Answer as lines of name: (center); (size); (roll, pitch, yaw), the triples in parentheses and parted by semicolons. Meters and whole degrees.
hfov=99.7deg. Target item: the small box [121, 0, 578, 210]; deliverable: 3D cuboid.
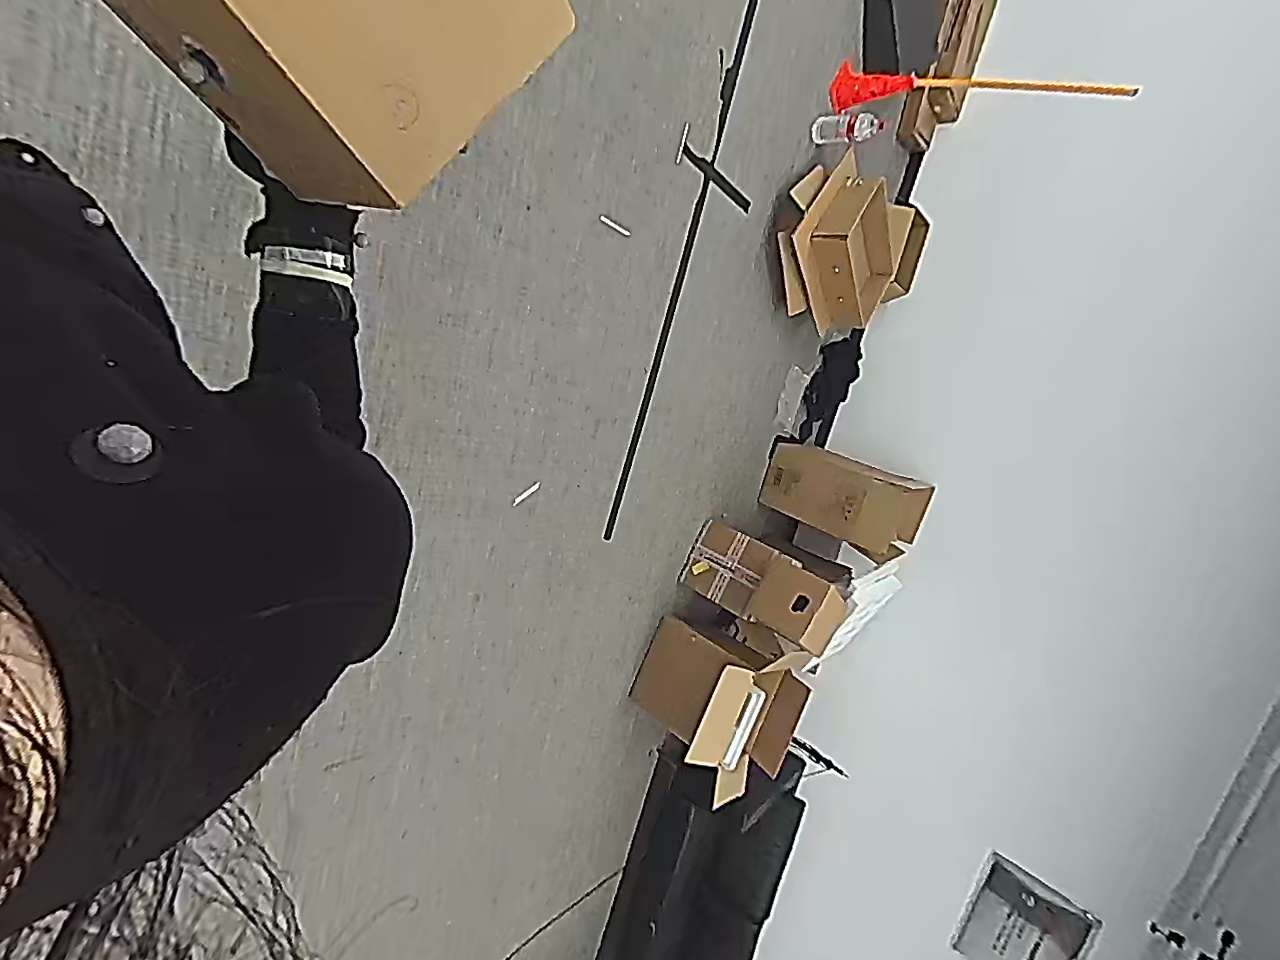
small box: (-0.177, -0.290, 0.319); (0.179, 0.176, 0.168); (-55, 143, -13)
